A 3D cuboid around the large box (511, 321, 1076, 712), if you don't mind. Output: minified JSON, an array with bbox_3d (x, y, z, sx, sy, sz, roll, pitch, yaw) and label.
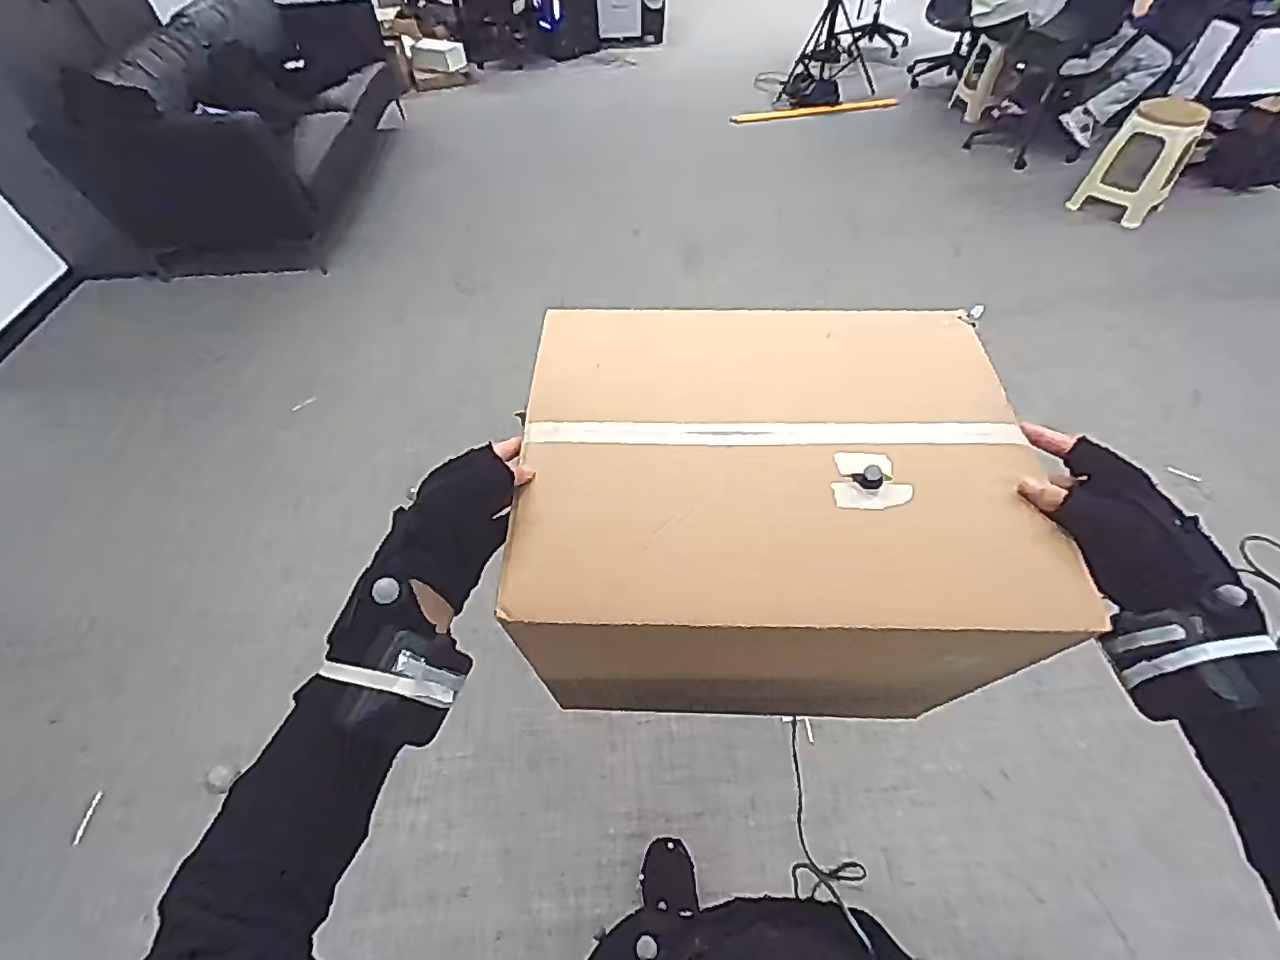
[{"bbox_3d":[0.107,0.054,0.580,0.408,0.320,0.320,0,57,1],"label":"large box"}]
